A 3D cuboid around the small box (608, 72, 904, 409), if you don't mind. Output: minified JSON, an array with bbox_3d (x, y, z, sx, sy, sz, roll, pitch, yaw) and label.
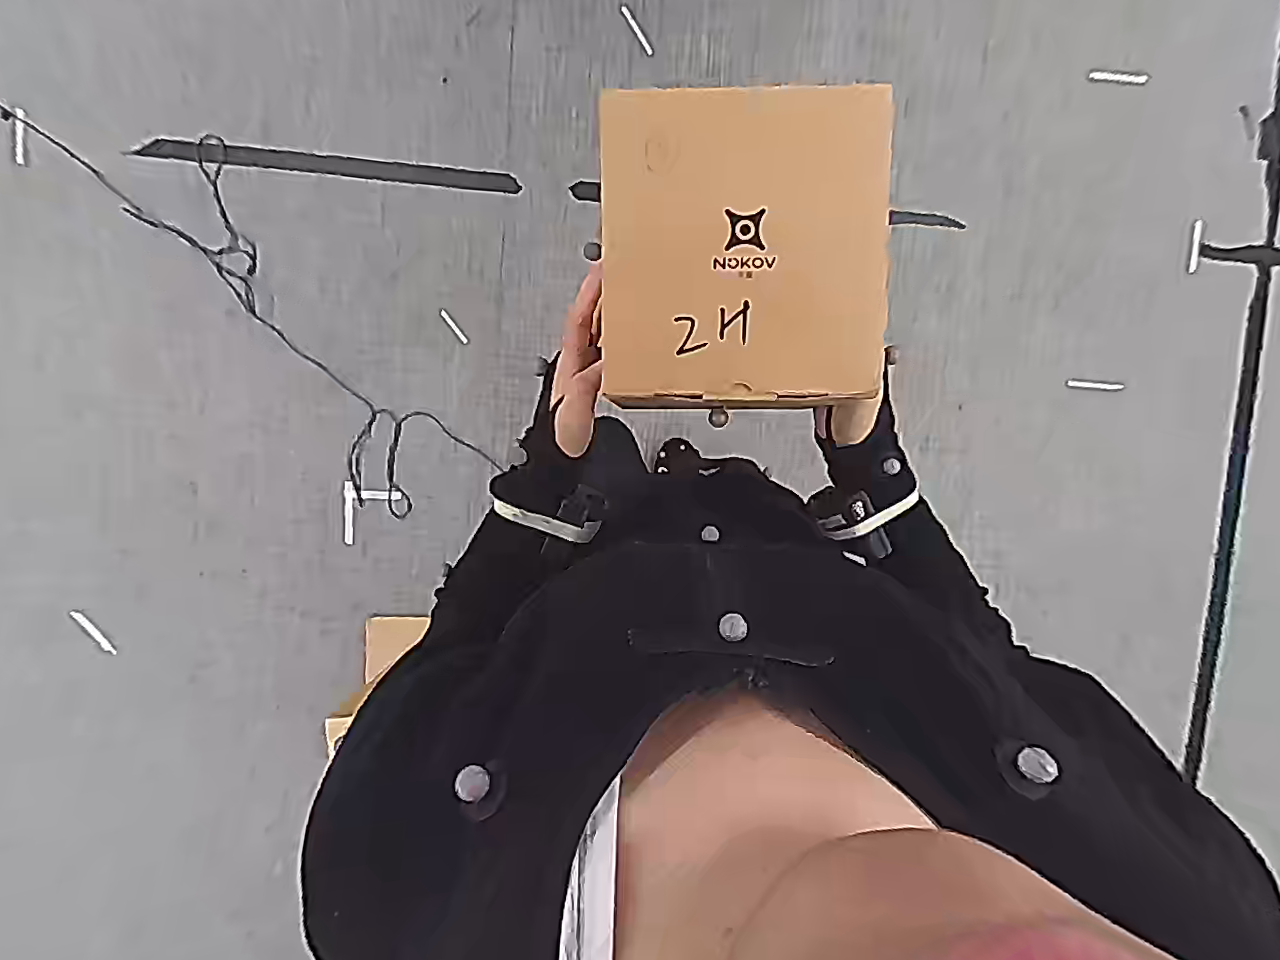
[{"bbox_3d":[0.065,-0.144,0.385,0.168,0.176,0.179,0,95,2],"label":"small box"}]
